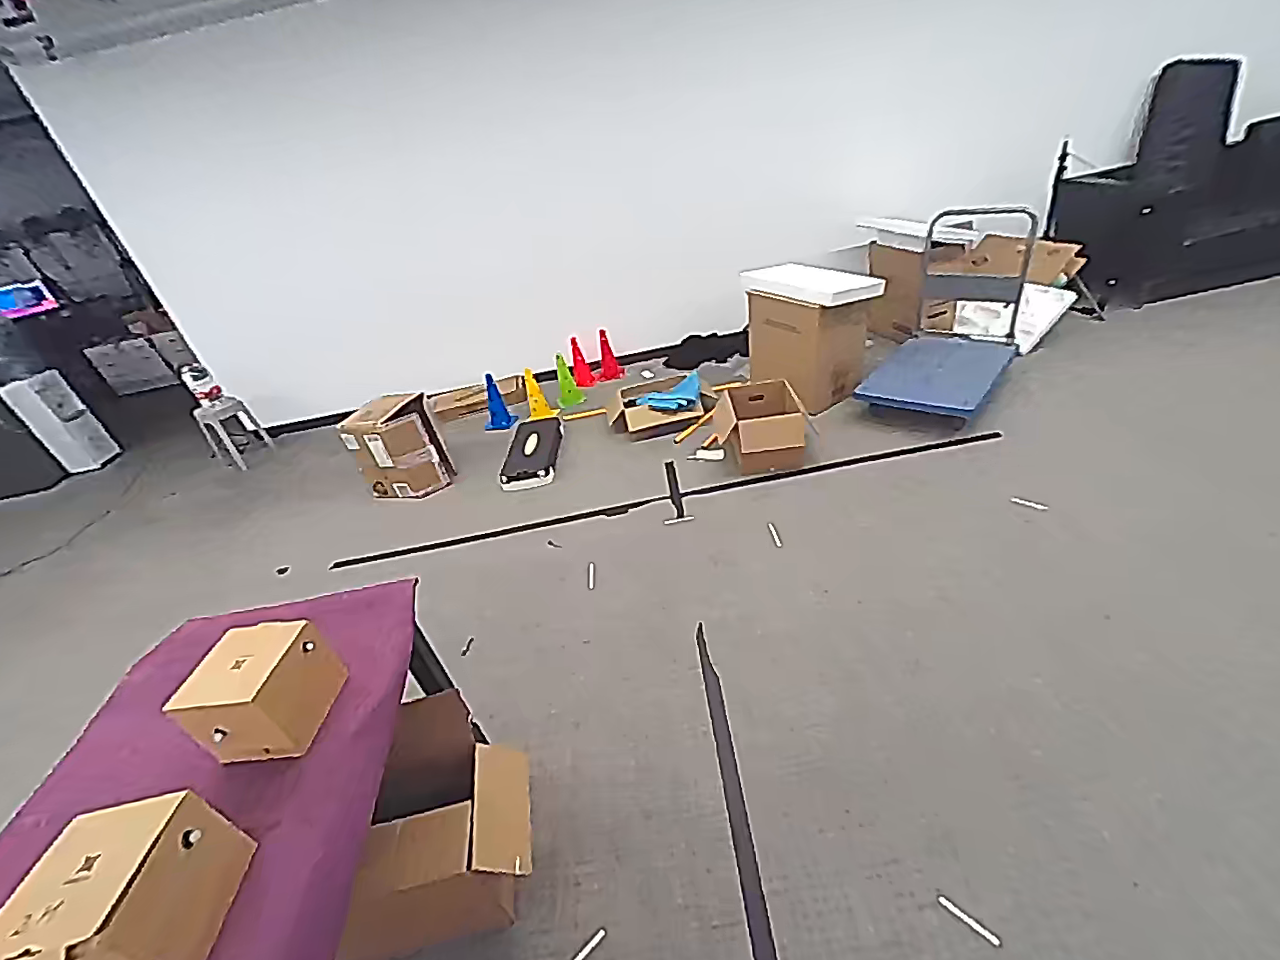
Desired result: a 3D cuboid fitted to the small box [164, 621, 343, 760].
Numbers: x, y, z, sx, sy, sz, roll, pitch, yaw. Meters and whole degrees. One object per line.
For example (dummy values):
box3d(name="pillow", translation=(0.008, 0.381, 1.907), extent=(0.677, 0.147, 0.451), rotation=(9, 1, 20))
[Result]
box3d(name="small box", translation=(-0.682, 0.387, 0.984), extent=(0.168, 0.176, 0.179), rotation=(-8, 32, 6))

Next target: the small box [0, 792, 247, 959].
box3d(name="small box", translation=(-0.673, 0.558, 0.716), extent=(0.168, 0.176, 0.179), rotation=(-14, 32, 2))
